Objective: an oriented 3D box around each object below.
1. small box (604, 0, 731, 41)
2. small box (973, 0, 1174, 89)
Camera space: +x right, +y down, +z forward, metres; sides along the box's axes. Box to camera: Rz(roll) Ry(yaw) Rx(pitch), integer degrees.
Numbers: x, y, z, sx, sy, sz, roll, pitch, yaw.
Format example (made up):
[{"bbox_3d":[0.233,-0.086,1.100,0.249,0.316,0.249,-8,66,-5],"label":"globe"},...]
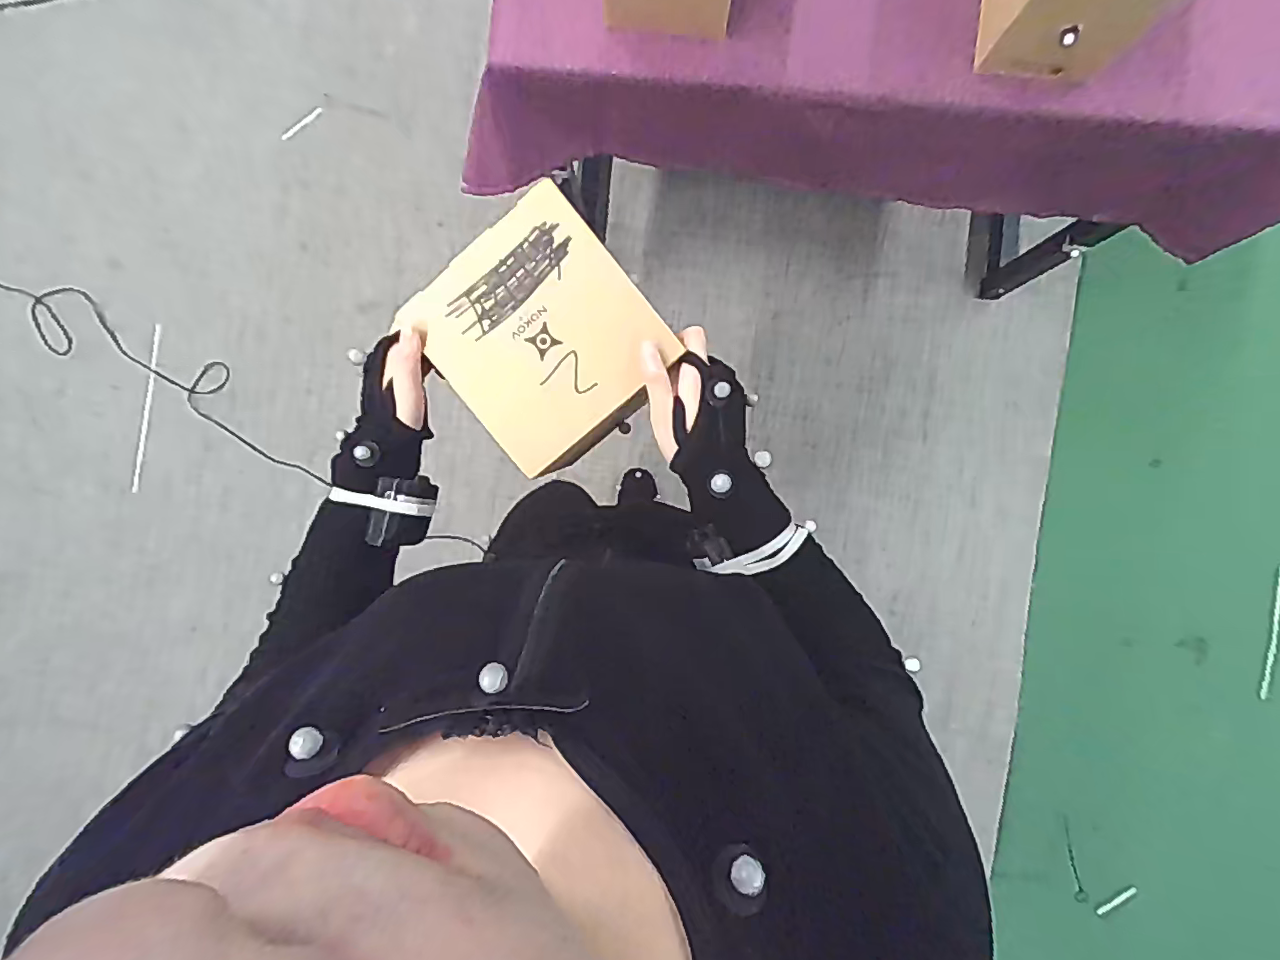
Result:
[{"bbox_3d":[0.044,-0.720,0.703,0.179,0.176,0.168,7,89,0],"label":"small box"},{"bbox_3d":[0.562,-0.649,0.694,0.168,0.176,0.179,8,89,1],"label":"small box"}]
